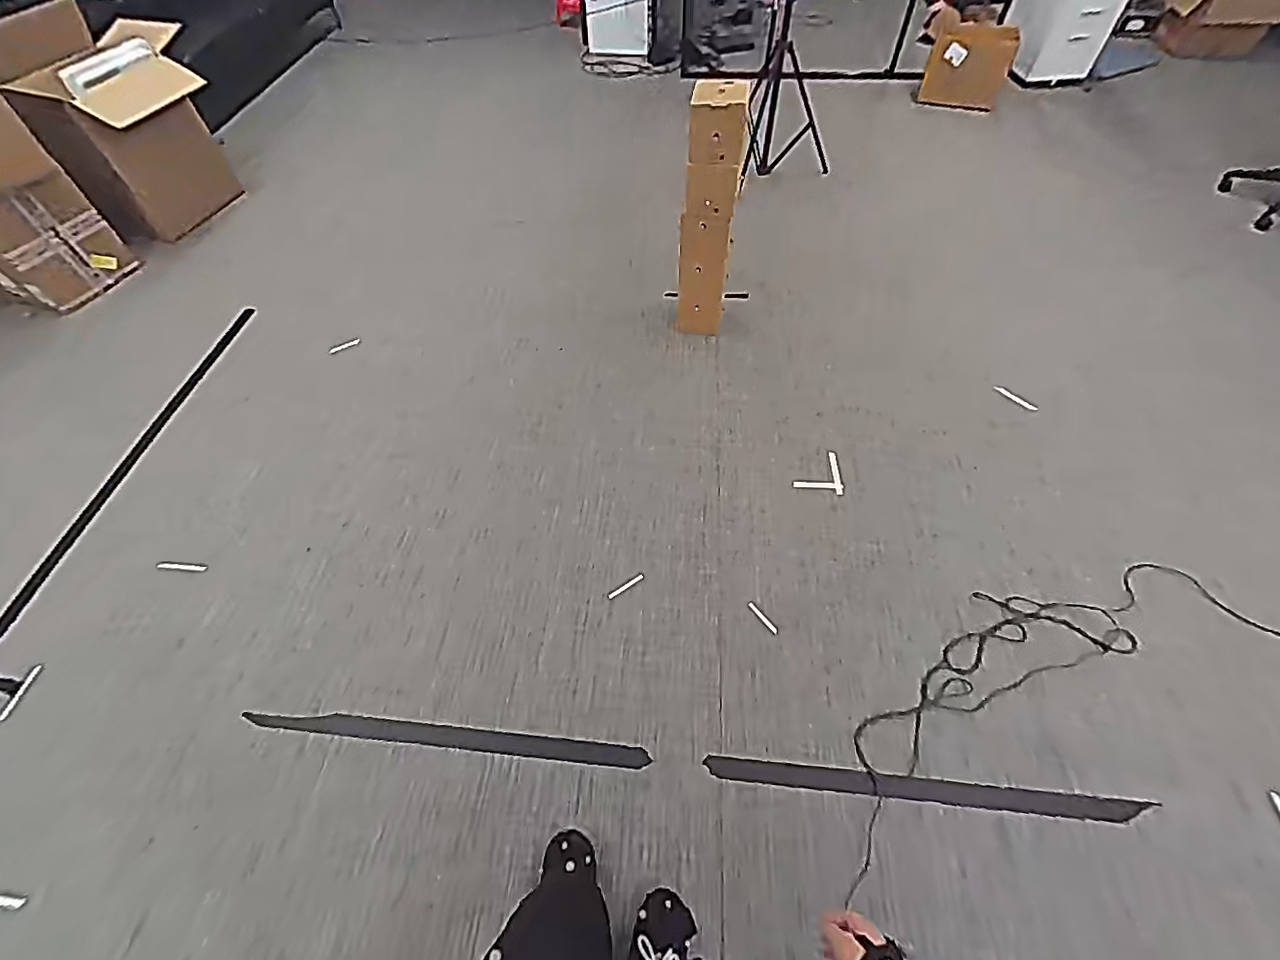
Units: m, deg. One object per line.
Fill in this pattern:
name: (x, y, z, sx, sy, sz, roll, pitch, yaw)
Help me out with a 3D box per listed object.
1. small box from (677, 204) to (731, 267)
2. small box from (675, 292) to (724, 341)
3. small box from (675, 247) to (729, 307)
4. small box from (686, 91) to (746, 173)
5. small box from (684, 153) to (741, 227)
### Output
small box: (0.233, -0.893, 1.958, 0.179, 0.176, 0.168, 9, 56, 8)
small box: (0.242, -0.689, 2.213, 0.179, 0.176, 0.168, 9, 55, 8)
small box: (0.238, -0.792, 2.084, 0.179, 0.176, 0.168, 11, 56, 10)
small box: (0.236, -1.087, 1.692, 0.168, 0.176, 0.179, 7, 56, 8)
small box: (0.240, -0.984, 1.821, 0.168, 0.176, 0.179, 8, 57, 9)
